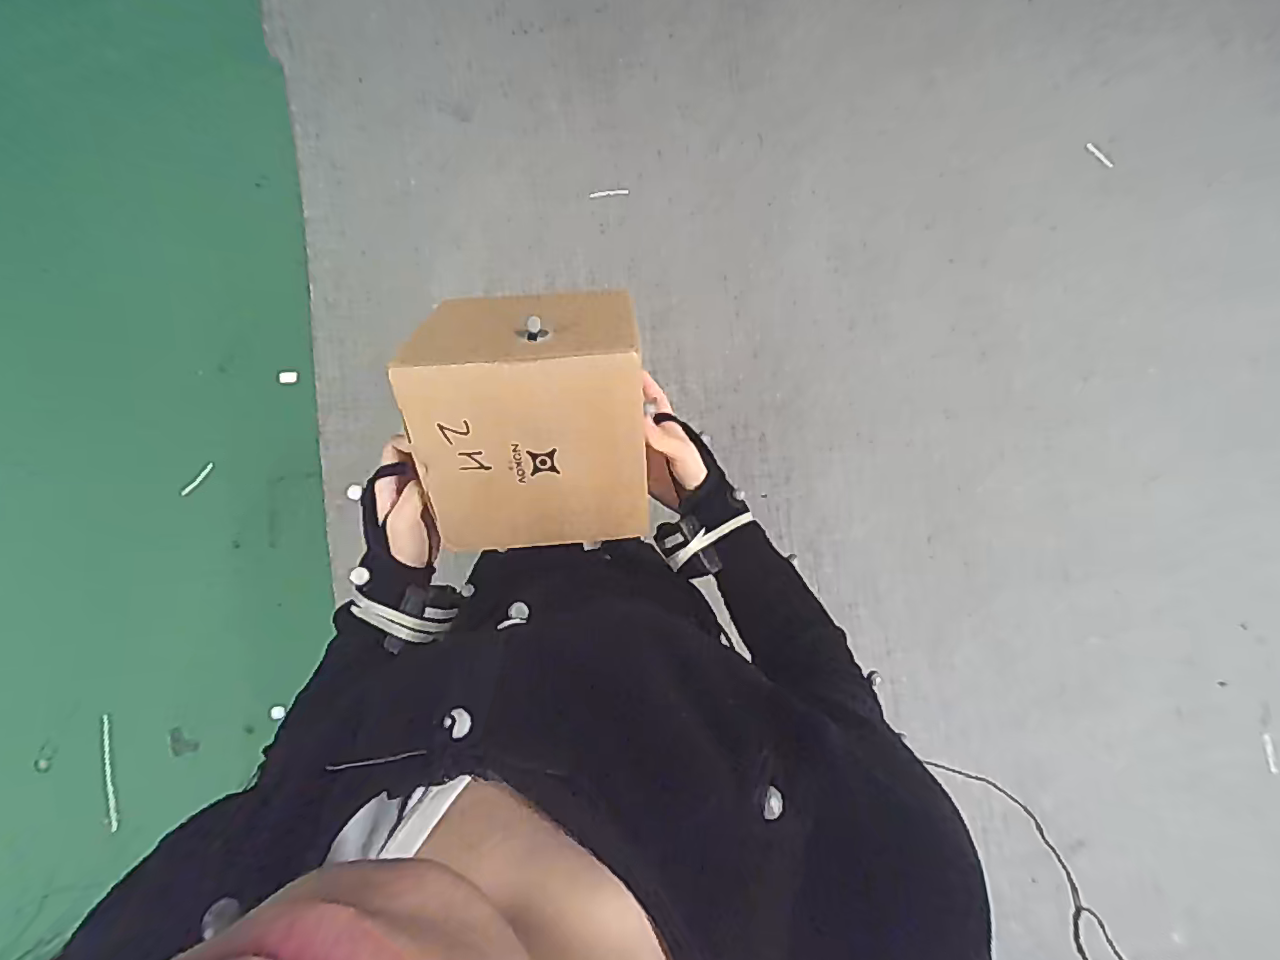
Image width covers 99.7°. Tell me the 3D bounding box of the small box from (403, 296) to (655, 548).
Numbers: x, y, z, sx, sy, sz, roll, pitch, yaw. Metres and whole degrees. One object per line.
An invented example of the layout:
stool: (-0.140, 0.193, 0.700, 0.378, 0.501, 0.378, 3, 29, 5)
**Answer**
small box: (-0.083, -0.060, 0.487, 0.179, 0.176, 0.168, -4, 124, -2)
